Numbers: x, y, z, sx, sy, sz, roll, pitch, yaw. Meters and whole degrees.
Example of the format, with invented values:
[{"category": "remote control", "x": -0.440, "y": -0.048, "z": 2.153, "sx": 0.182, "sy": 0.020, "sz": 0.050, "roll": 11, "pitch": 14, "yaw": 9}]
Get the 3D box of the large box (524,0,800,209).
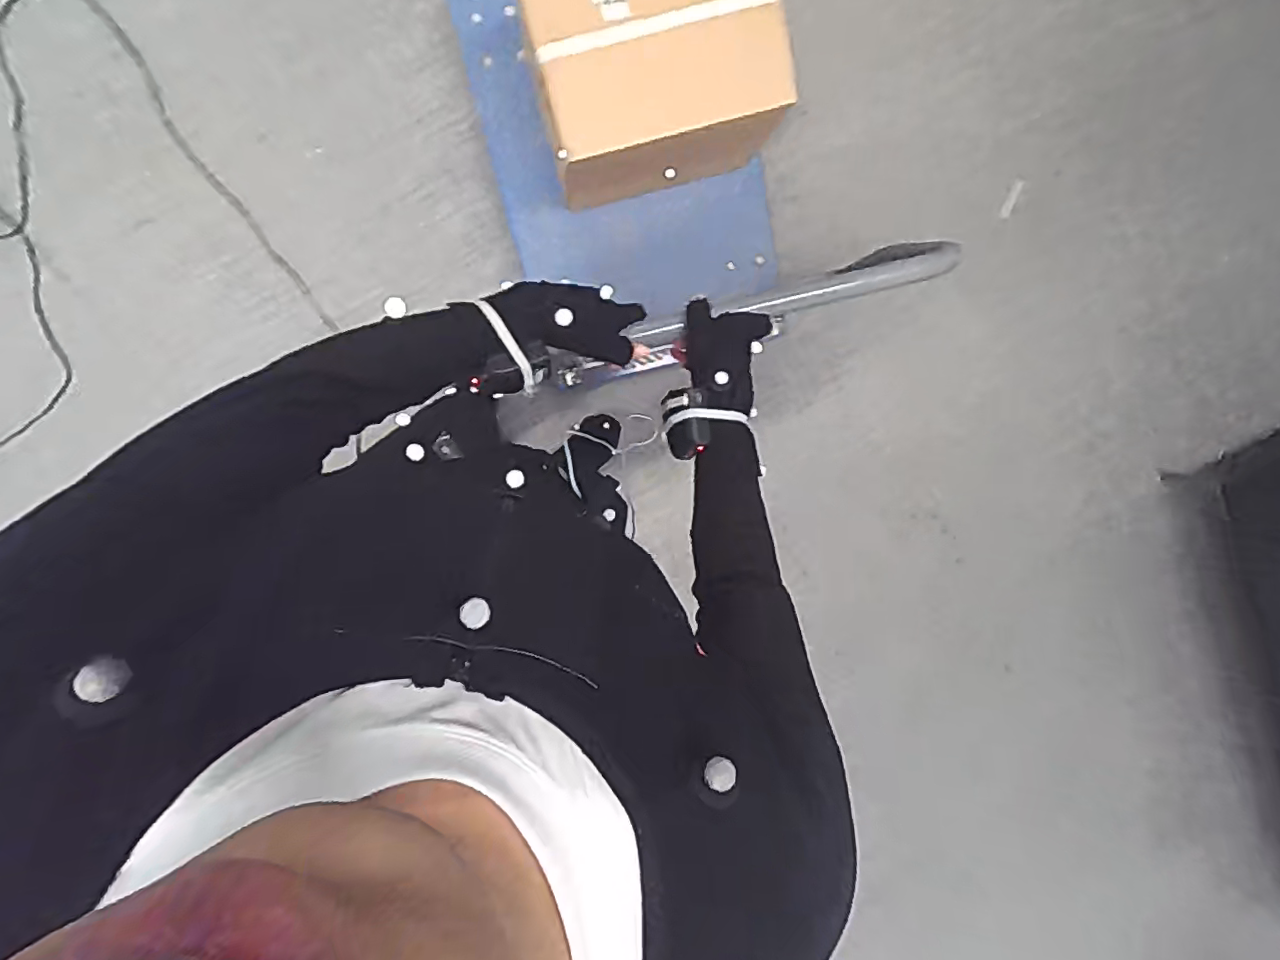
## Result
[{"category": "large box", "x": 0.029, "y": -0.759, "z": 1.017, "sx": 0.408, "sy": 0.320, "sz": 0.320, "roll": -17, "pitch": 102, "yaw": -2}]
